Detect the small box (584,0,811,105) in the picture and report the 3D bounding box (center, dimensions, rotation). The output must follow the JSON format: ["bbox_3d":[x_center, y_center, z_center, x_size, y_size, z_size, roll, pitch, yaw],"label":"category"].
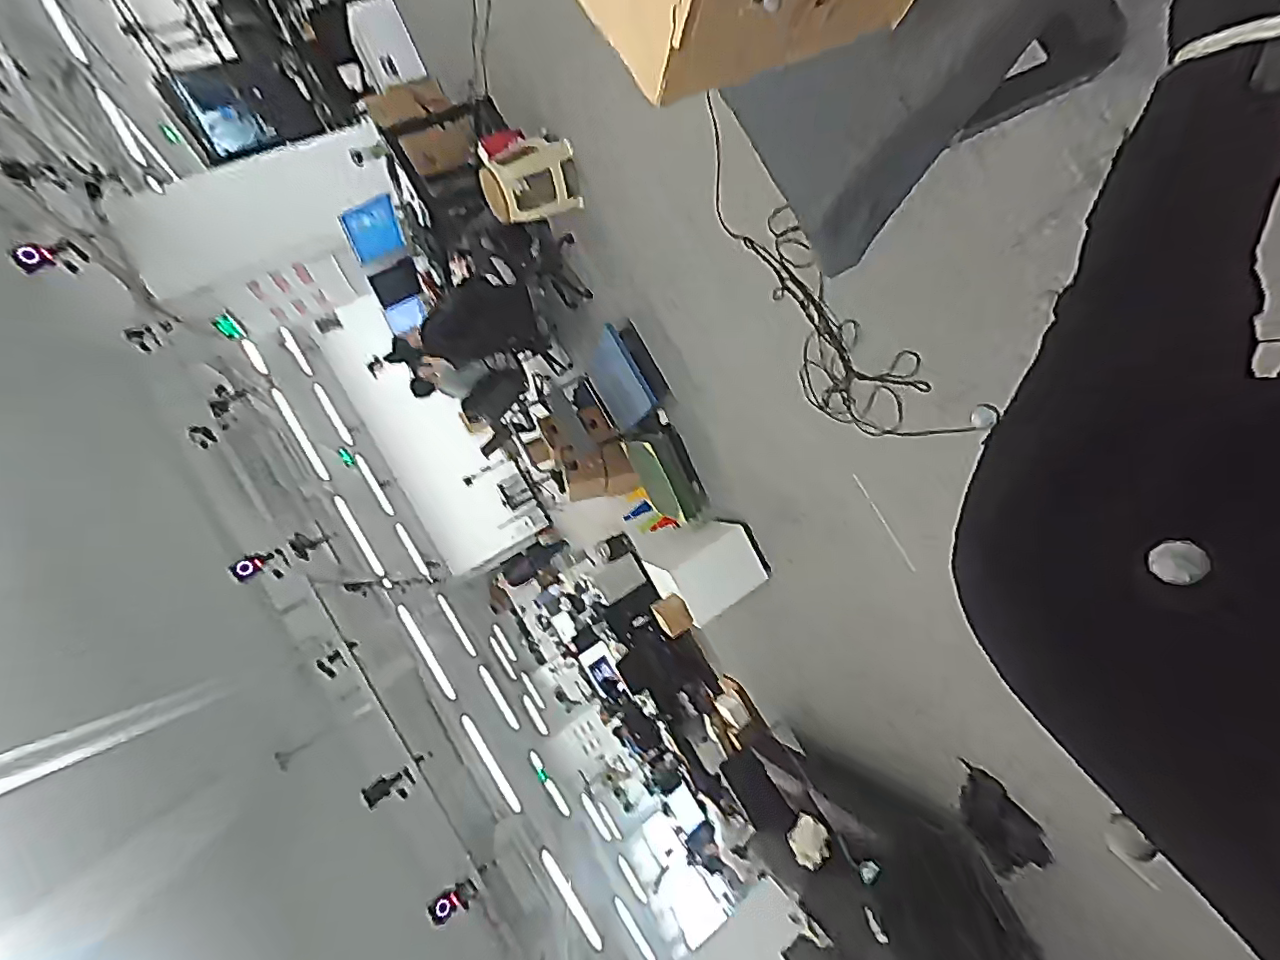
[{"bbox_3d":[0.057,-0.476,0.456,0.179,0.176,0.168,57,163,6],"label":"small box"}]

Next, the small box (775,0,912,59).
[{"bbox_3d":[0.190,-0.556,0.508,0.179,0.176,0.168,58,163,5],"label":"small box"}]
